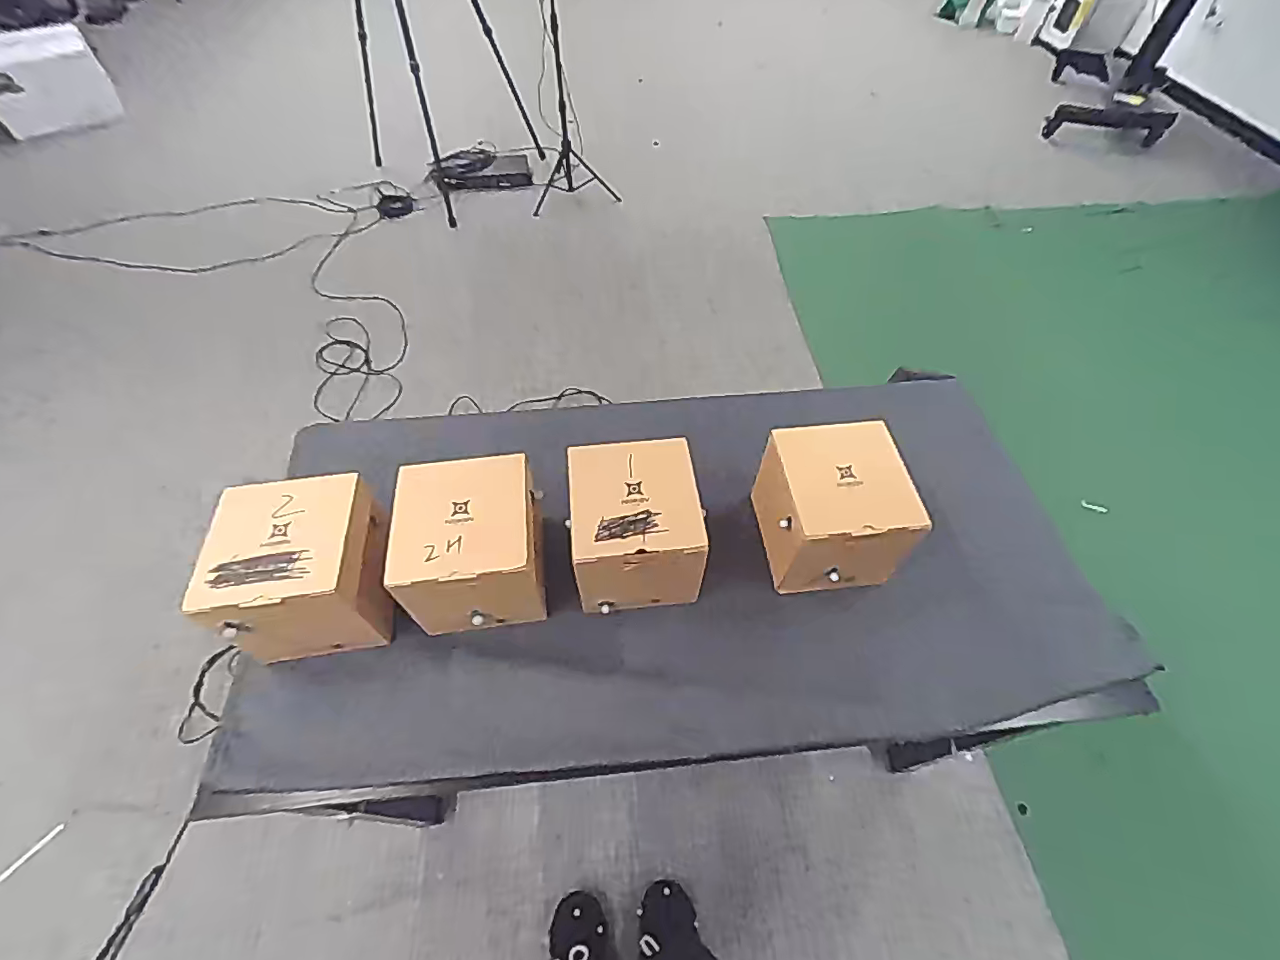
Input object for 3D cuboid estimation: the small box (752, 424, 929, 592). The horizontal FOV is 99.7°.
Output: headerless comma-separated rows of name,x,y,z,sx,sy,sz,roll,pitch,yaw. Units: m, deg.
small box,0.270,0.042,0.780,0.168,0.176,0.179,-5,55,-4
